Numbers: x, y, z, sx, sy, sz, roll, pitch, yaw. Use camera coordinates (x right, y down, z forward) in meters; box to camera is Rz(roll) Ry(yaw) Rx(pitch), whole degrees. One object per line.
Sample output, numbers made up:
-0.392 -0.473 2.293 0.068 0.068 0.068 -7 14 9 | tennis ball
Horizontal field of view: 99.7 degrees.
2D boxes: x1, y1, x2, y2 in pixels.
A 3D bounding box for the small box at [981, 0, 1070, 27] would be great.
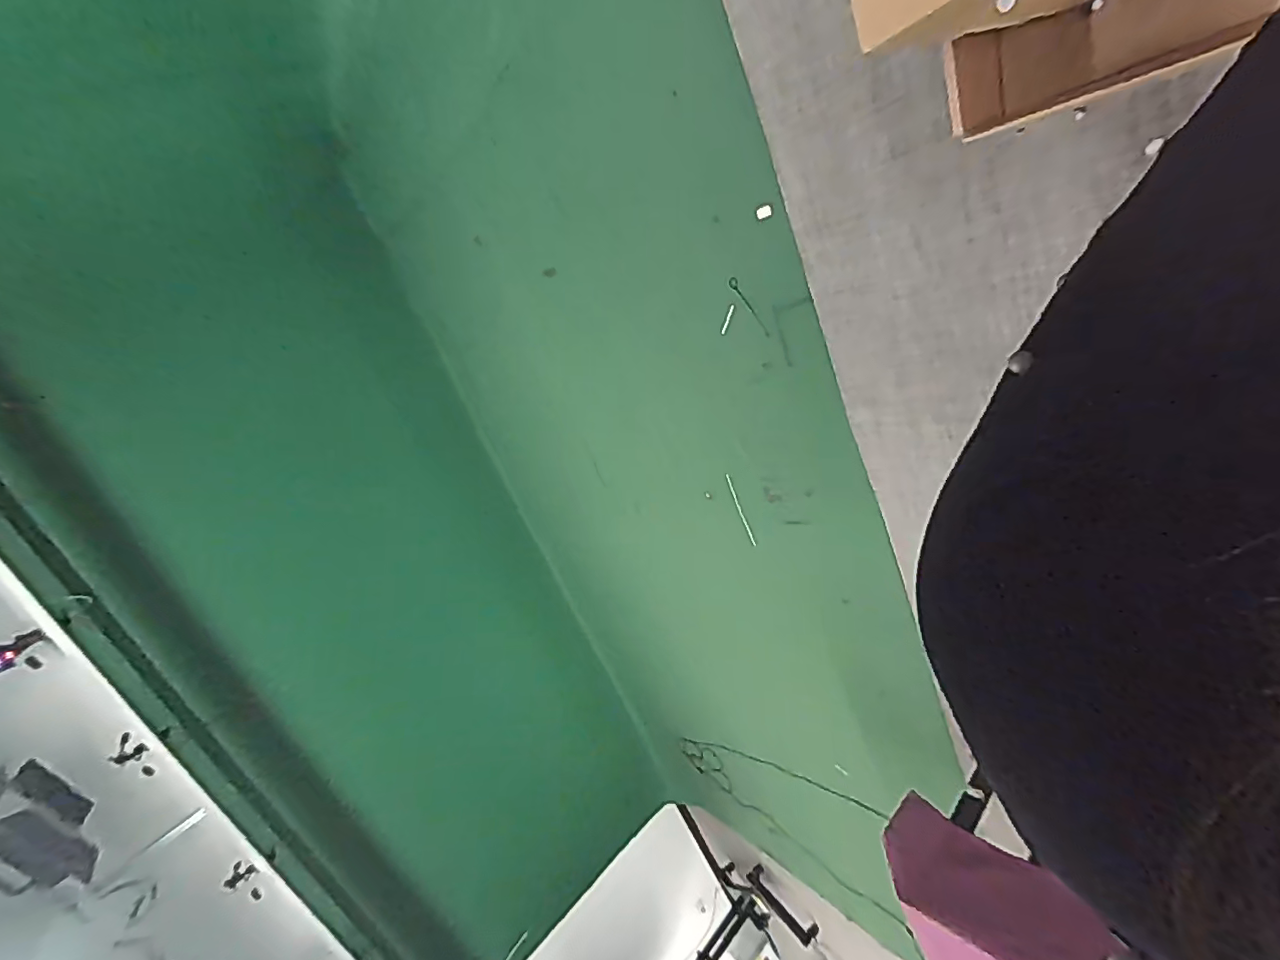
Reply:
0.354 -0.493 0.426 0.179 0.176 0.168 5 124 50 | small box
